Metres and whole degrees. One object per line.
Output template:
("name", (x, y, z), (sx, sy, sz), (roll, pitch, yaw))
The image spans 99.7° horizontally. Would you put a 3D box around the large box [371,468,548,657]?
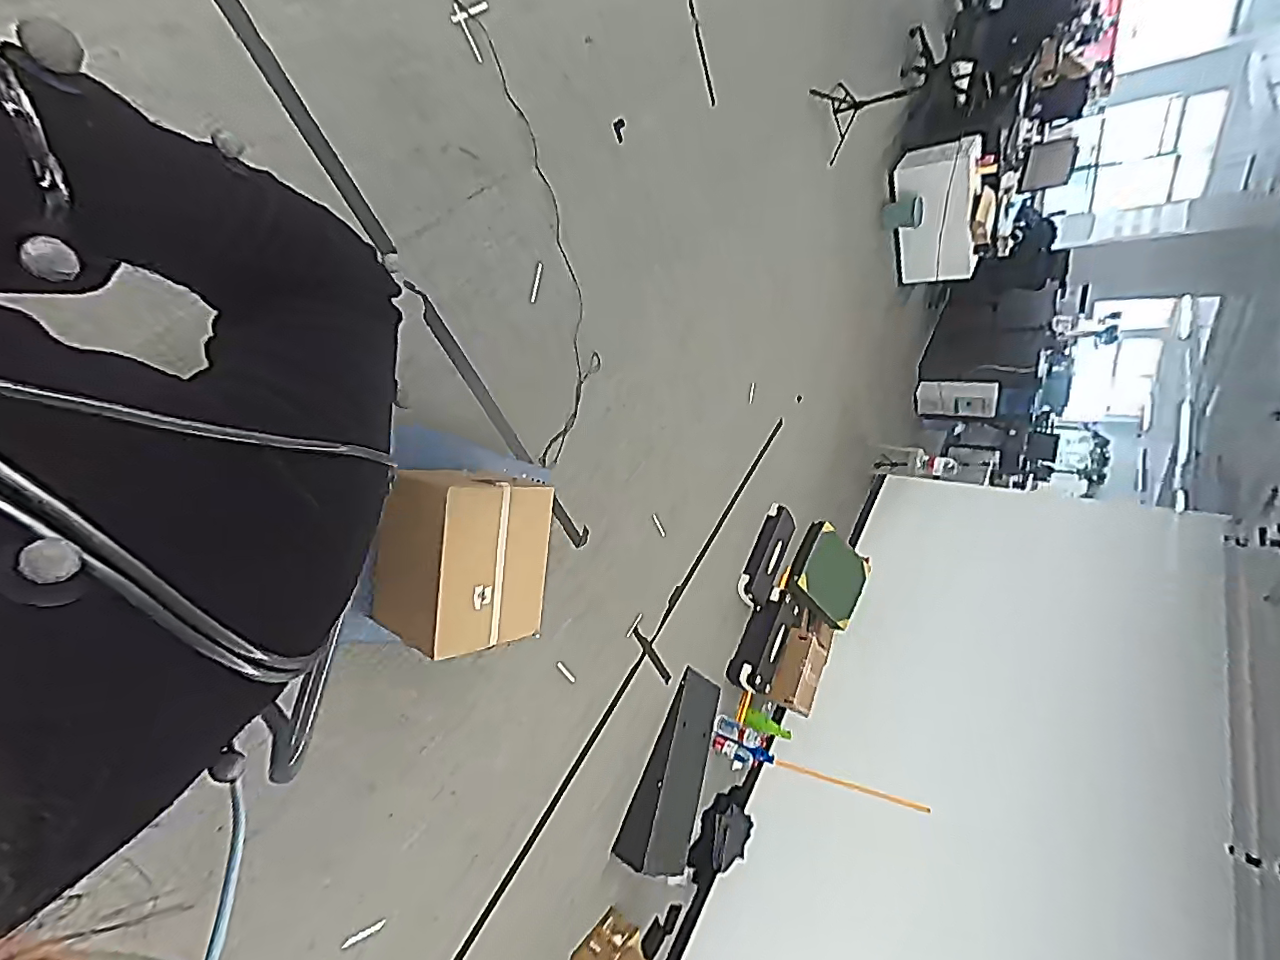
("large box", (-0.470, 0.183, 1.406), (0.320, 0.320, 0.408), (1, 98, -50))
